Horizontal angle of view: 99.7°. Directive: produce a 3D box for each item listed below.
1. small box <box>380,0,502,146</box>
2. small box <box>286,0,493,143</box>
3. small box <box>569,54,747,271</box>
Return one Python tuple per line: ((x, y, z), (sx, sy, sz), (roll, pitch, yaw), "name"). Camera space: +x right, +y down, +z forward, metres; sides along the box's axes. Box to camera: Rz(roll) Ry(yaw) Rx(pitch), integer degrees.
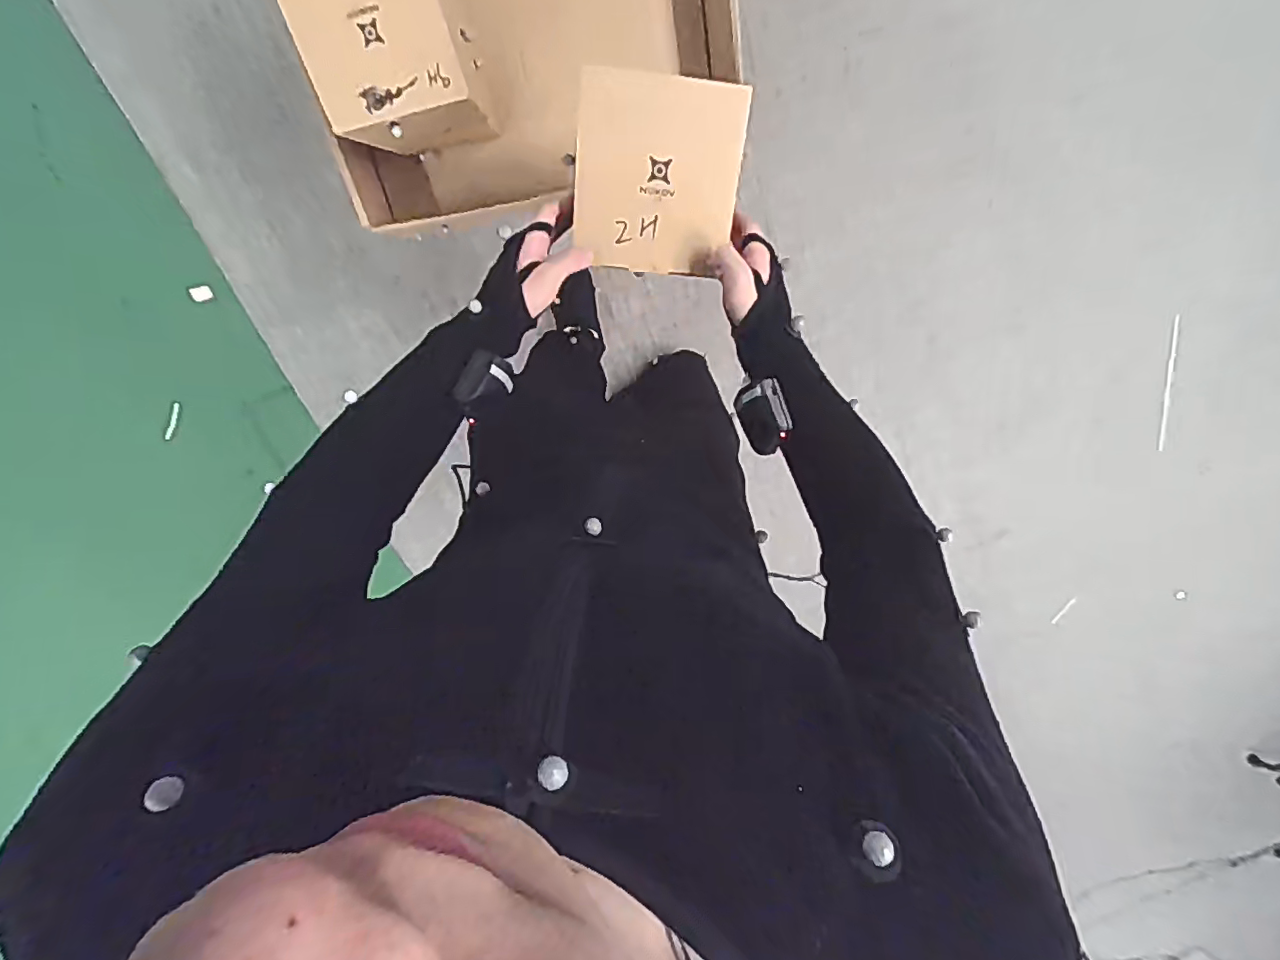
((-0.318, -0.616, 0.809), (0.168, 0.176, 0.179), (-12, 117, 1), "small box")
((-0.299, -0.540, 0.664), (0.168, 0.176, 0.179), (-14, 117, 4), "small box")
((0.009, -0.348, 0.615), (0.168, 0.176, 0.179), (4, 118, -5), "small box")
